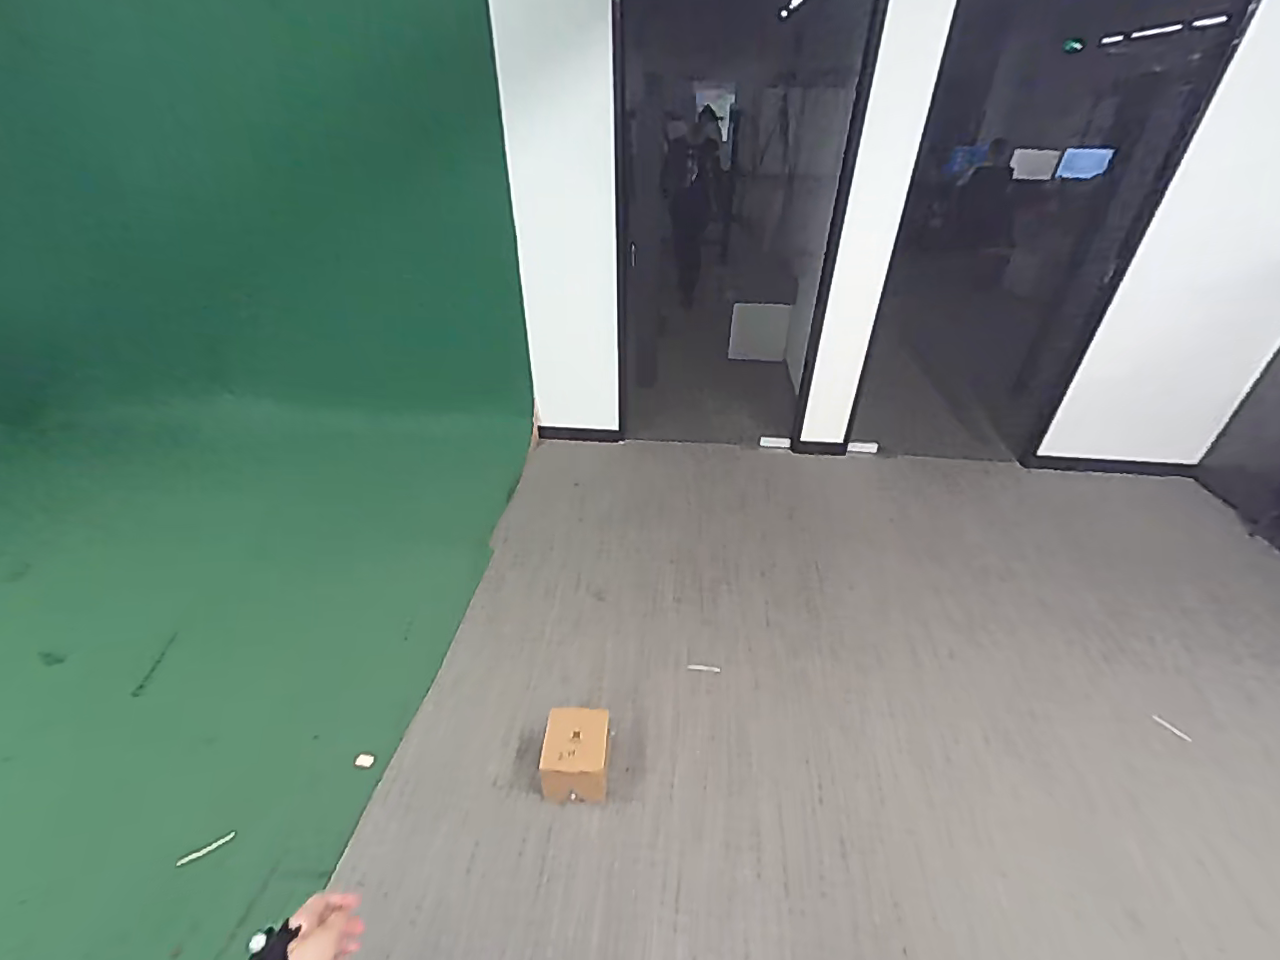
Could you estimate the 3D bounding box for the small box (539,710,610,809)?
[{"bbox_3d":[-0.171,0.750,1.456,0.168,0.176,0.179,2,34,2],"label":"small box"}]
